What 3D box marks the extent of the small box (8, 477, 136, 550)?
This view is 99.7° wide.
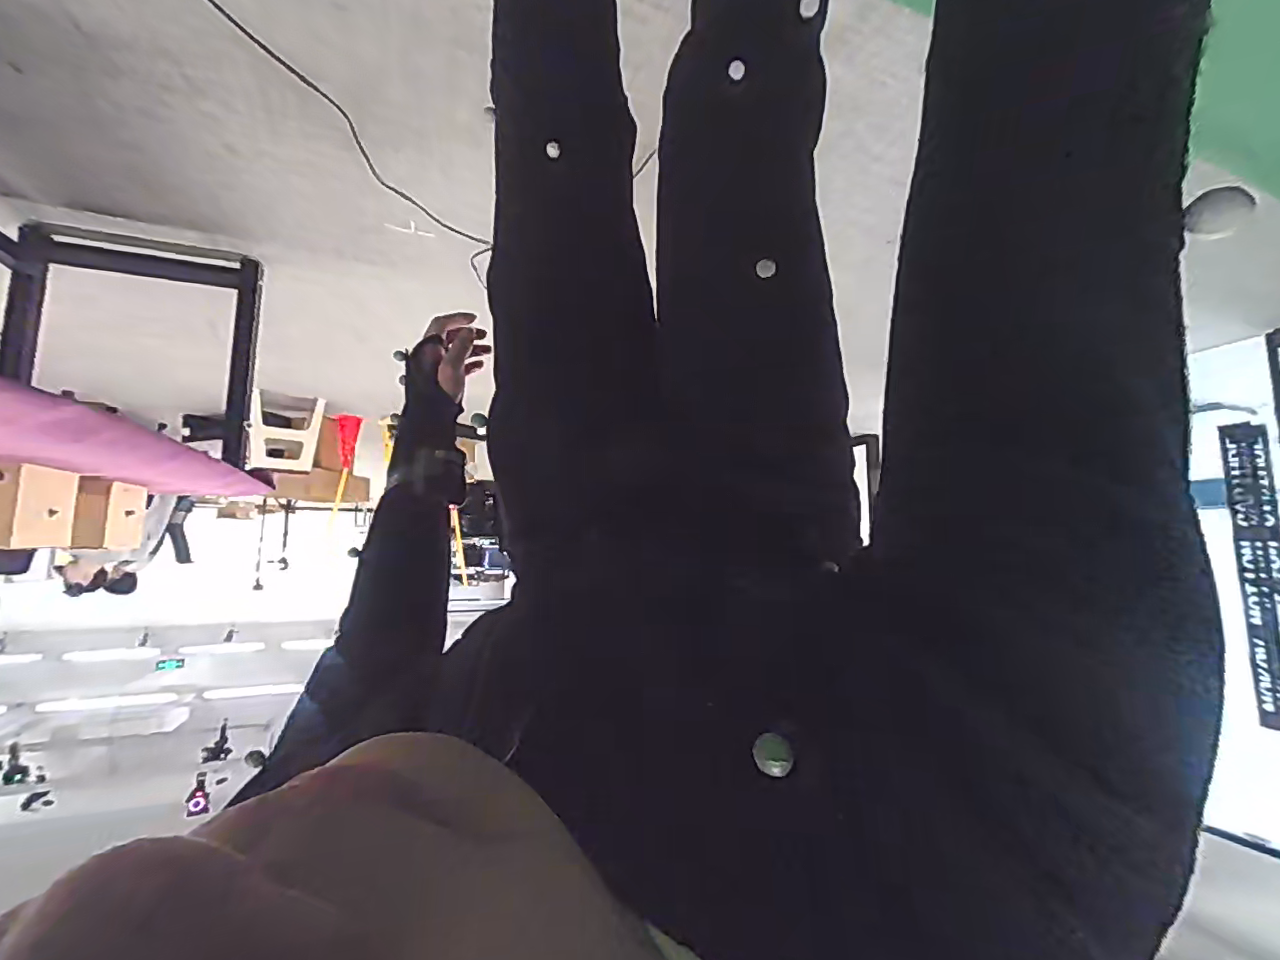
[{"bbox_3d":[-1.390,0.083,1.332,0.179,0.176,0.168,1,173,-20],"label":"small box"}]

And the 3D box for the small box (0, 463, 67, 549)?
[{"bbox_3d":[-1.287,0.050,1.061,0.168,0.176,0.179,2,174,-20],"label":"small box"}]
